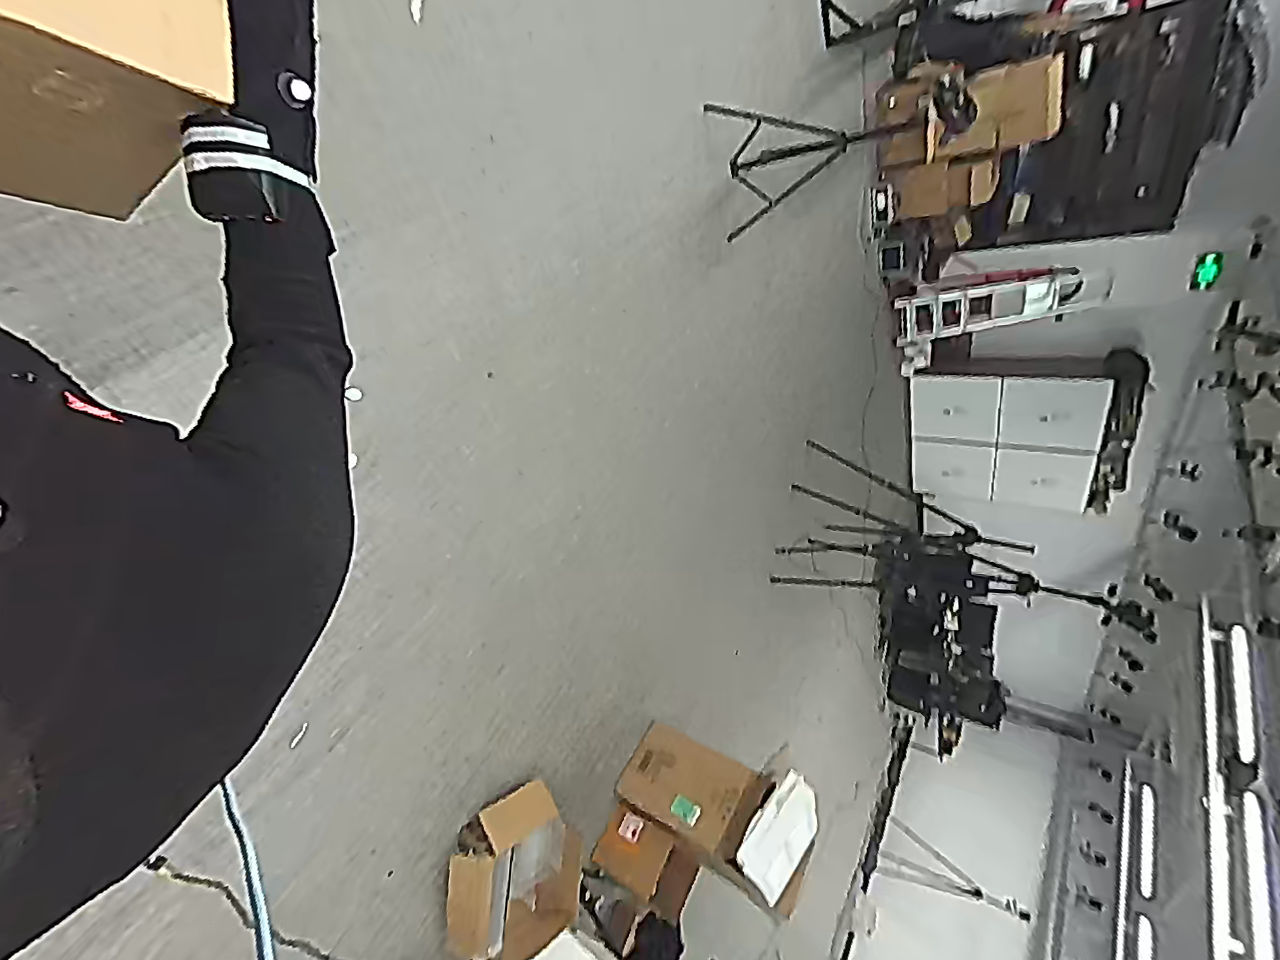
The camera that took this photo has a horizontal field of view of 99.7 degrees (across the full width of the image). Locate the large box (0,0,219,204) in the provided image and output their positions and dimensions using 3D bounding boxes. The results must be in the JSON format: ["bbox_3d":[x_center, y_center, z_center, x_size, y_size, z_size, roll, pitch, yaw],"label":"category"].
[{"bbox_3d":[-0.538,-0.406,0.293,0.408,0.320,0.320,-9,99,-54],"label":"large box"}]
